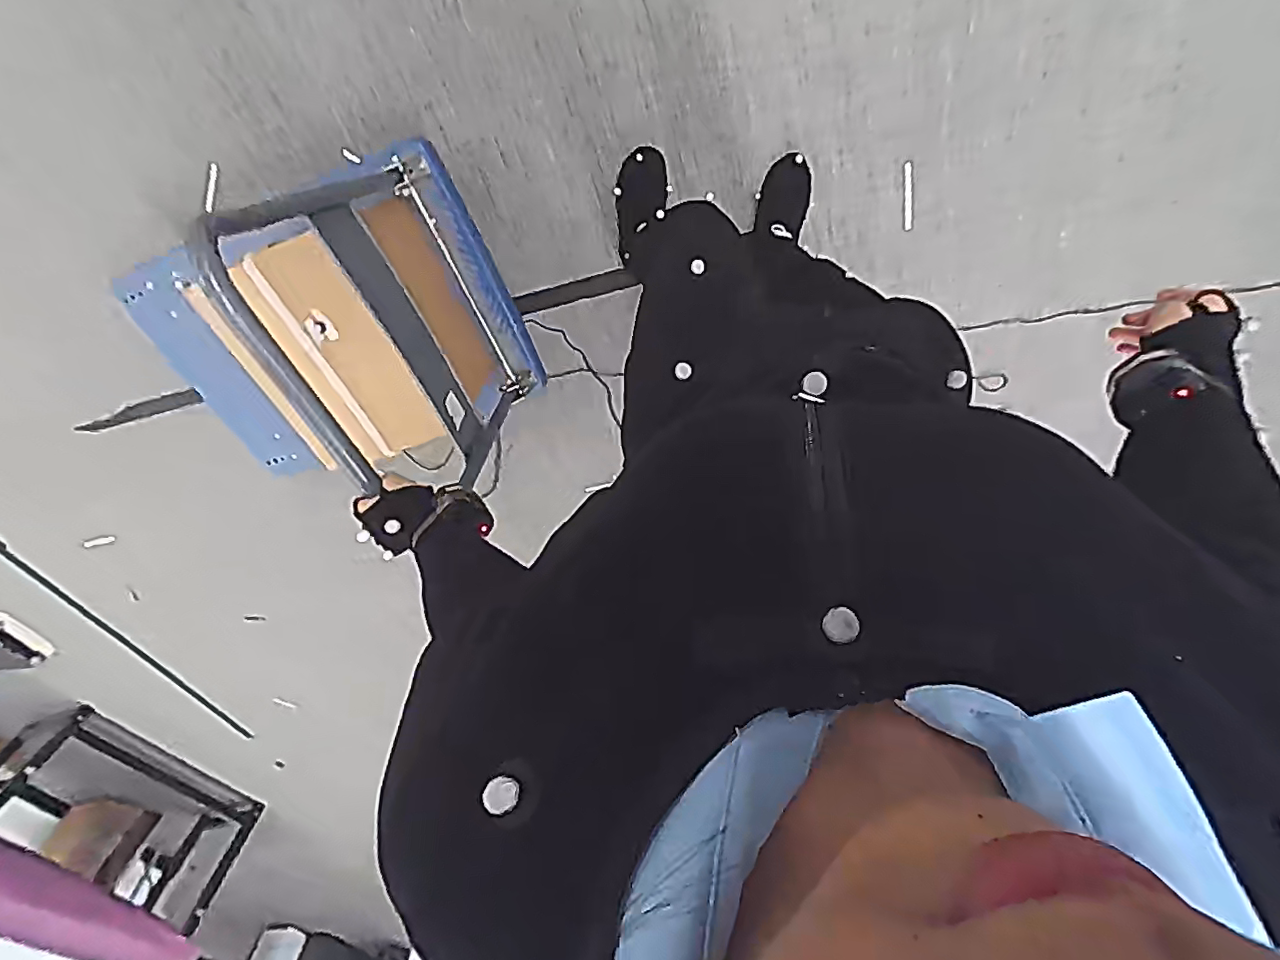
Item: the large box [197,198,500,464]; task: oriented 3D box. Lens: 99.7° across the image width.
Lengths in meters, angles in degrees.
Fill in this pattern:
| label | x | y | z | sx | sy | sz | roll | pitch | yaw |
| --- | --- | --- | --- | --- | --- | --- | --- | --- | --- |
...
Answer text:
| label | x | y | z | sx | sy | sz | roll | pitch | yaw |
| --- | --- | --- | --- | --- | --- | --- | --- | --- | --- |
| large box | -0.555 | -0.306 | 1.130 | 0.320 | 0.320 | 0.408 | -15 | 123 | 14 |
